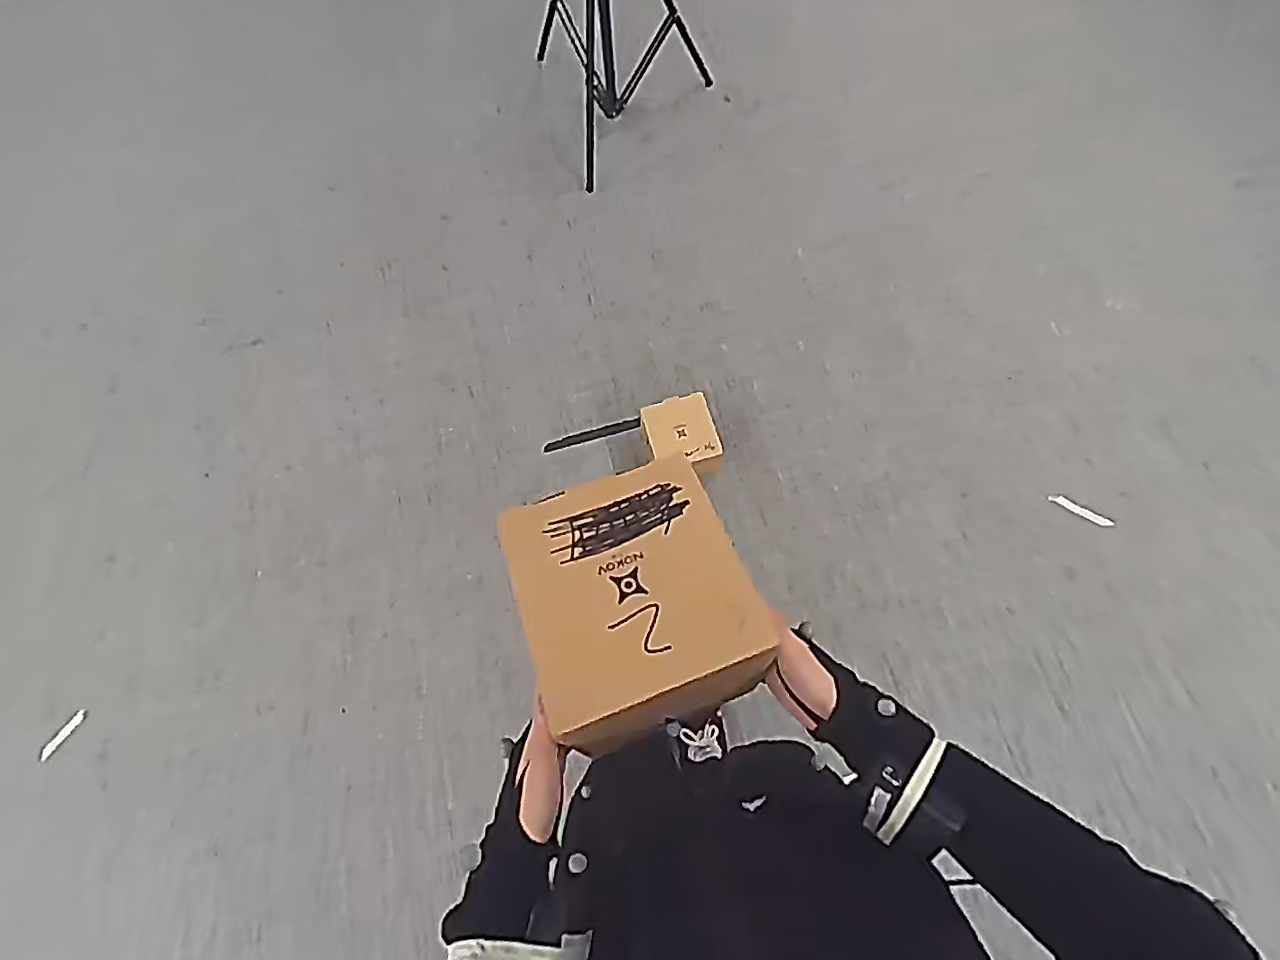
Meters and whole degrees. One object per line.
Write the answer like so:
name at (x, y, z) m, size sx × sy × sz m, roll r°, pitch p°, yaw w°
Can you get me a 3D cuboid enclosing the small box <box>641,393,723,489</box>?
small box at (0.101, -0.096, 1.398) m, size 0.168 × 0.176 × 0.179 m, roll -16°, pitch 73°, yaw -3°
